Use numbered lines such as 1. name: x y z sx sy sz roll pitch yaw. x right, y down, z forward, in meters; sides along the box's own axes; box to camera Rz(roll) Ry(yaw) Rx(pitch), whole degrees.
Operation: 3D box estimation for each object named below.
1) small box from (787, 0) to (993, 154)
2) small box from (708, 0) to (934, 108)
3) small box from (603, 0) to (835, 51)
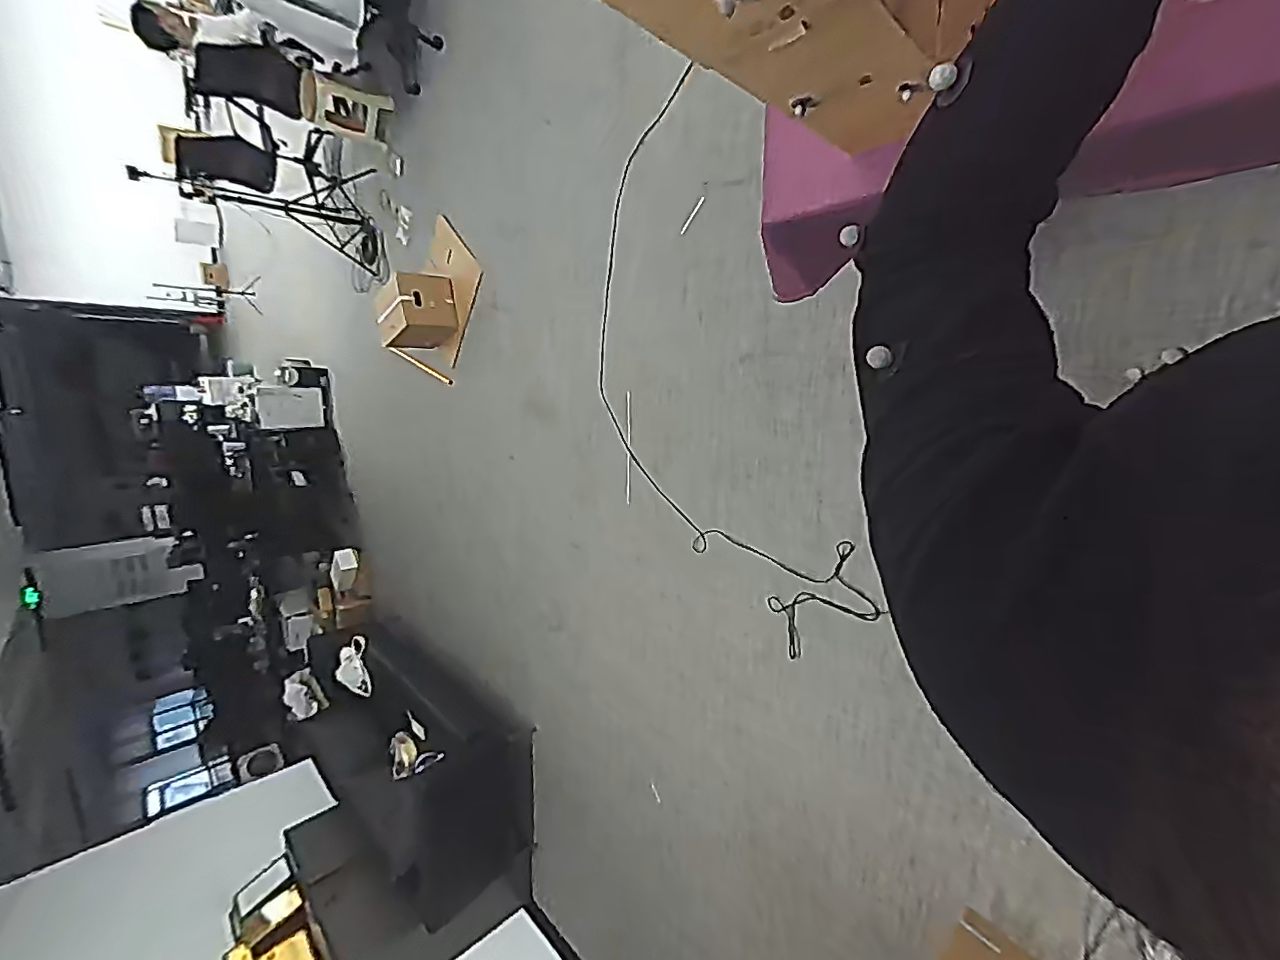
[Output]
1. small box: 0.302 -0.528 0.657 0.179 0.176 0.168 9 103 44
2. small box: 0.185 -0.511 0.543 0.168 0.176 0.179 9 101 44
3. small box: 0.072 -0.484 0.426 0.168 0.176 0.179 9 104 44
